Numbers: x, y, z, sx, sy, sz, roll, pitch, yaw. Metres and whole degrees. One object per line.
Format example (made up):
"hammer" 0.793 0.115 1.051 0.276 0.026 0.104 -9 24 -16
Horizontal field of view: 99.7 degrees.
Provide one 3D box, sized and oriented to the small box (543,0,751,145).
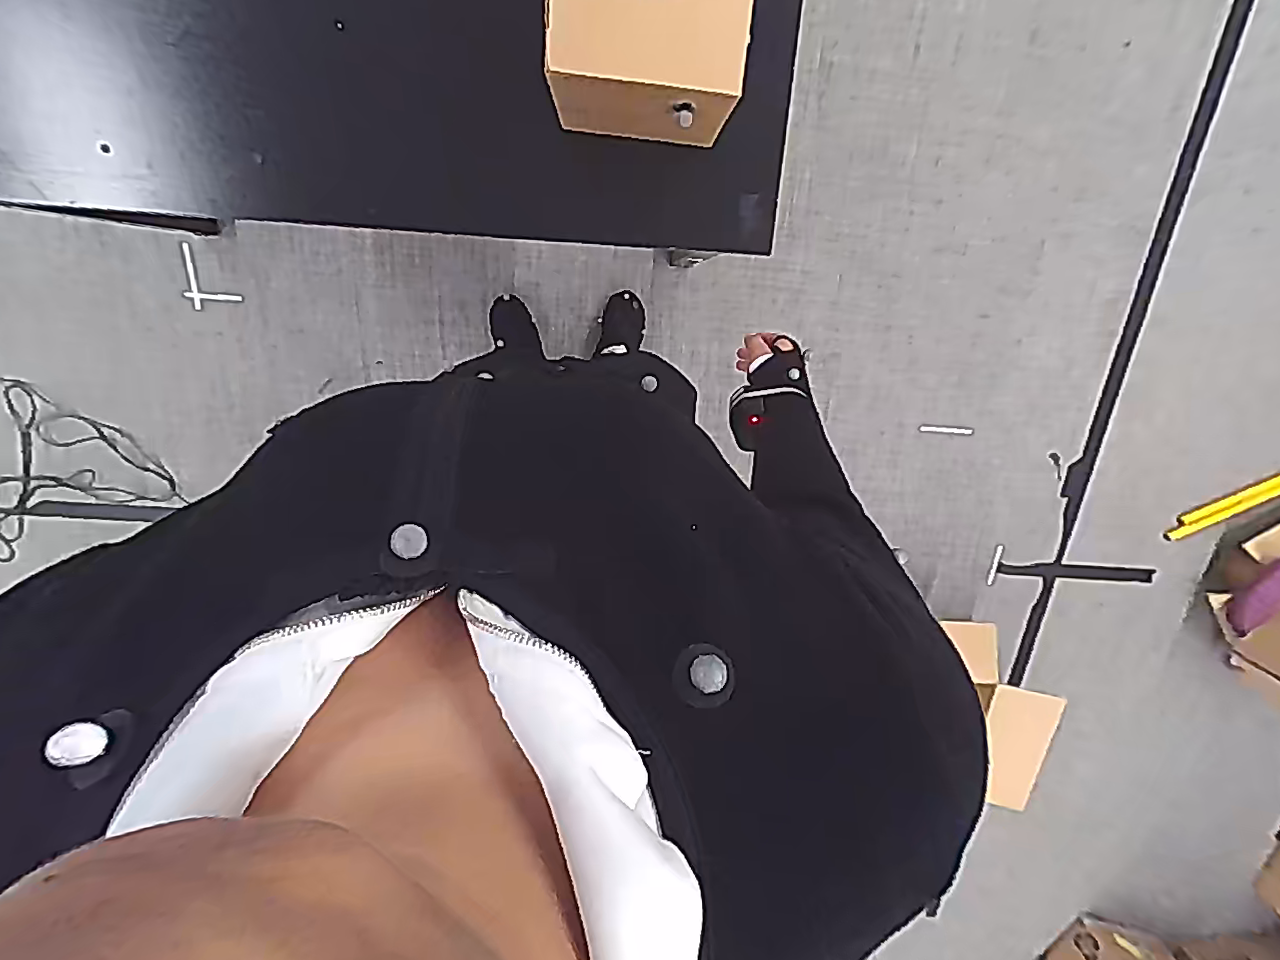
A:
"small box" 0.006 -0.447 0.527 0.179 0.176 0.168 5 107 -4
